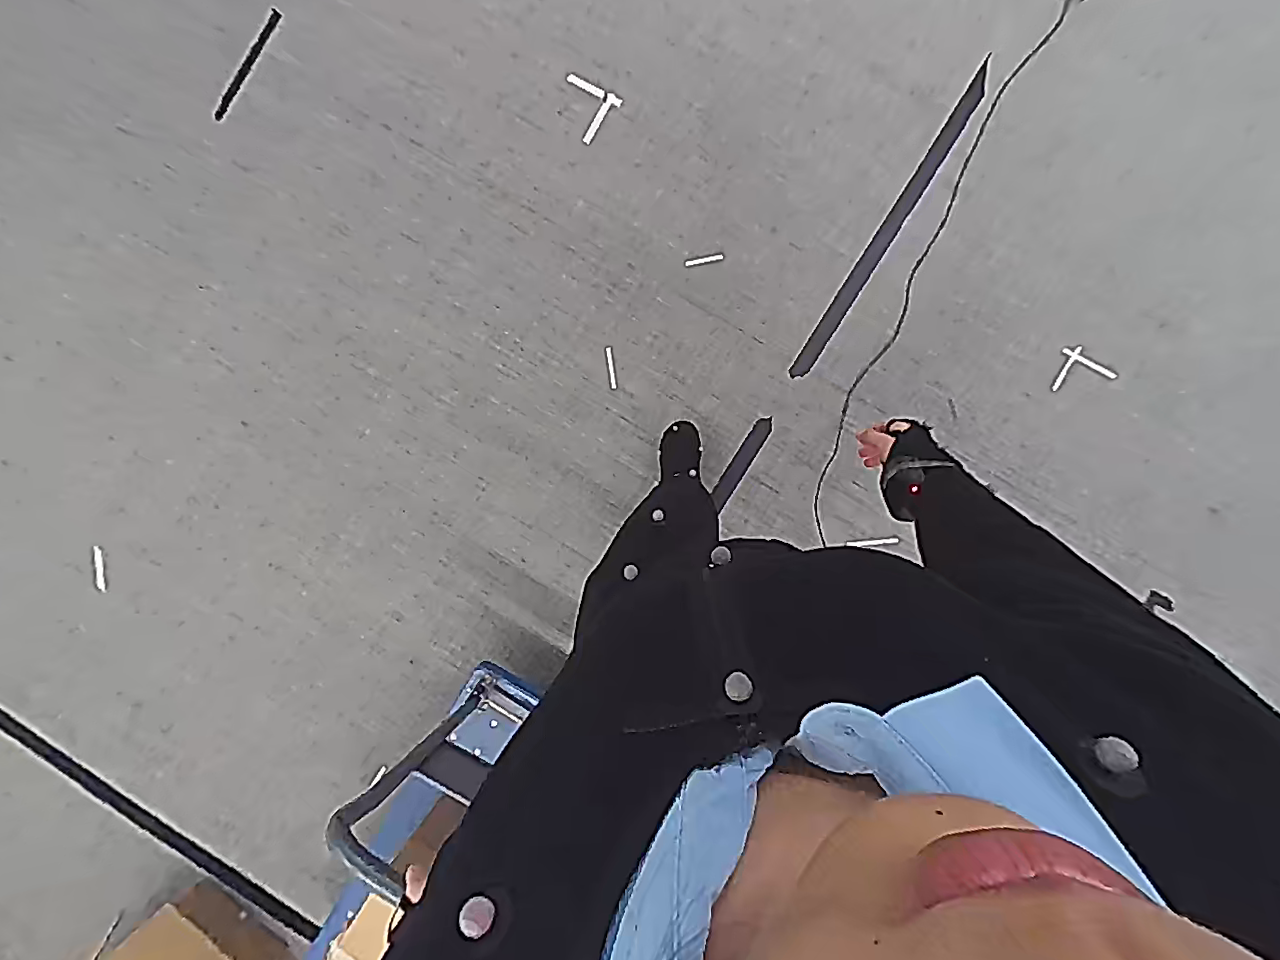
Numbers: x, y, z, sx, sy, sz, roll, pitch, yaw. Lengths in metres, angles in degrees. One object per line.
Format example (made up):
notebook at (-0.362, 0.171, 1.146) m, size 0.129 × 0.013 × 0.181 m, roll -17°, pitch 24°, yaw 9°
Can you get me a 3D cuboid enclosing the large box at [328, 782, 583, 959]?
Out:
large box at (-0.385, 0.956, 1.168) m, size 0.408 × 0.320 × 0.320 m, roll 32°, pitch 90°, yaw 2°
